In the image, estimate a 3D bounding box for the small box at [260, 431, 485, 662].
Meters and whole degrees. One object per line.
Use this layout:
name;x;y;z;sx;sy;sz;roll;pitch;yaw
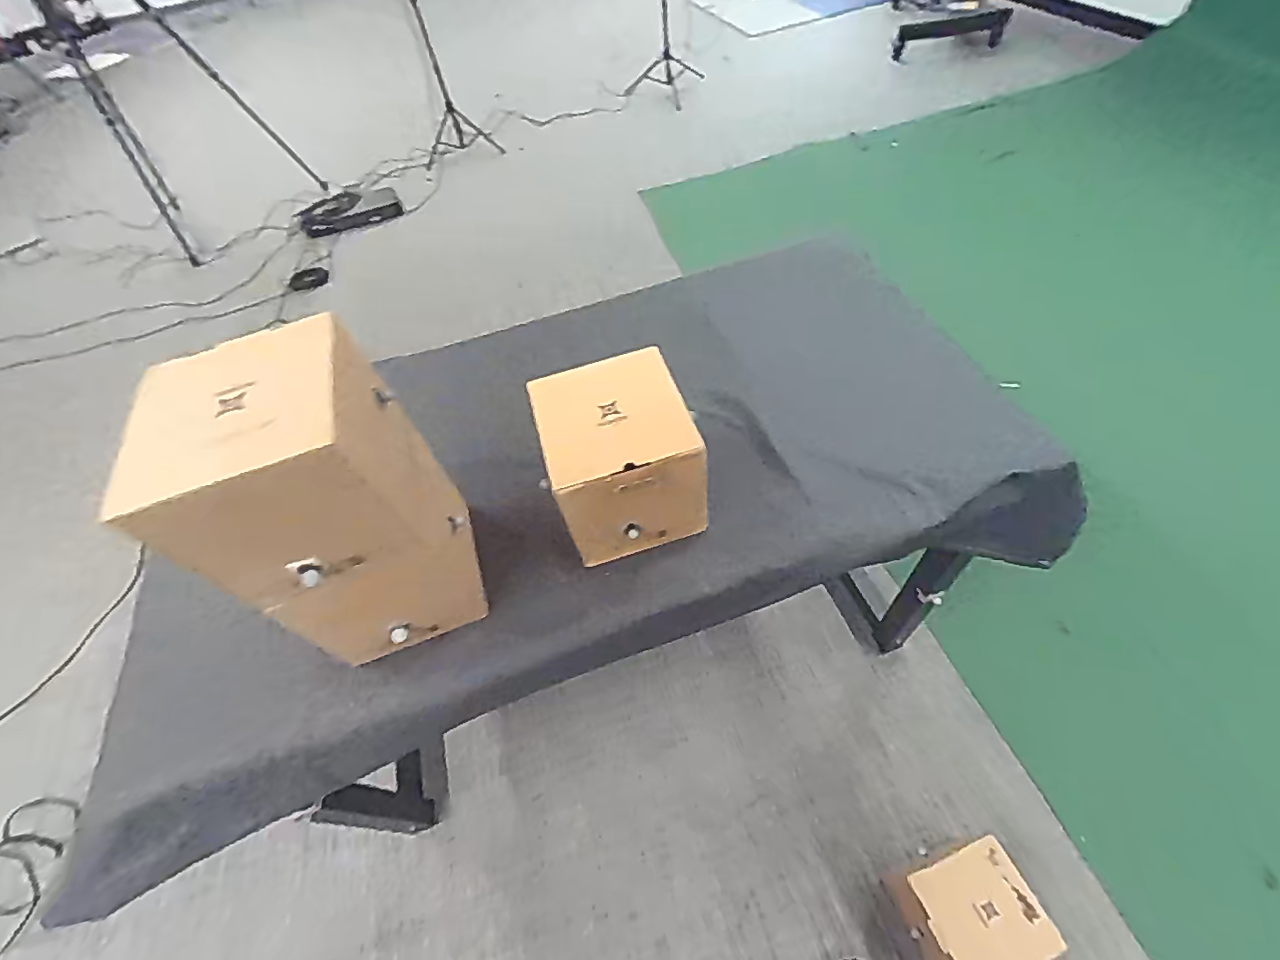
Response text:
small box;-0.294;0.080;0.622;0.168;0.176;0.179;-20;55;-7

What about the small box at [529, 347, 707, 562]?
small box;-0.024;-0.028;0.666;0.168;0.176;0.179;-18;54;-5

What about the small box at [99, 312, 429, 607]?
small box;-0.312;-0.015;0.491;0.168;0.176;0.179;-21;55;-6
